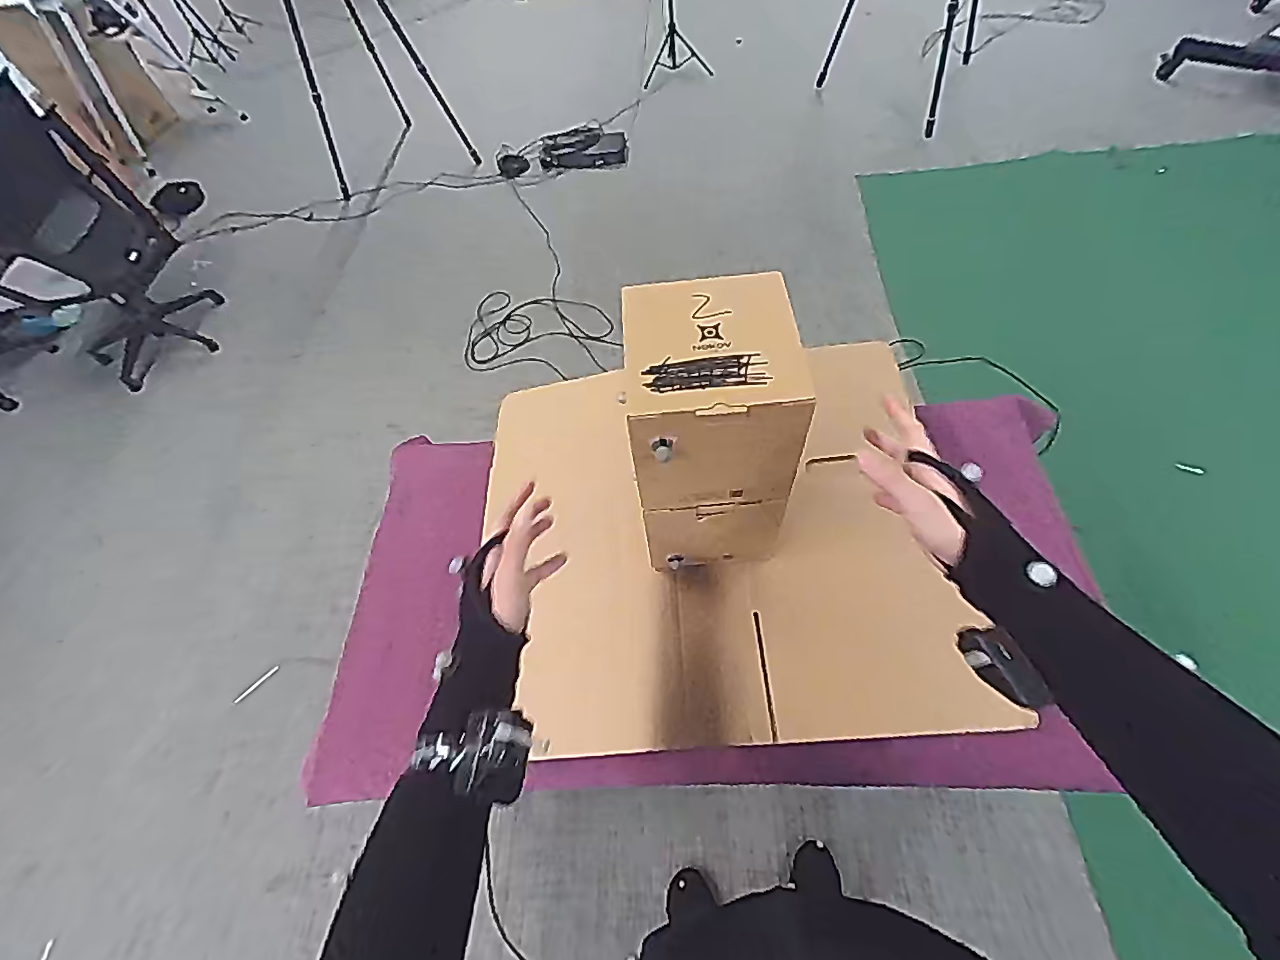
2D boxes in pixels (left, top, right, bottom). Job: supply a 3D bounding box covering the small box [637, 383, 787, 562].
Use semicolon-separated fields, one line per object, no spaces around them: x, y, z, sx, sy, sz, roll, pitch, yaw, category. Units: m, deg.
0.088;-0.001;0.709;0.168;0.176;0.179;-5;57;3;small box
